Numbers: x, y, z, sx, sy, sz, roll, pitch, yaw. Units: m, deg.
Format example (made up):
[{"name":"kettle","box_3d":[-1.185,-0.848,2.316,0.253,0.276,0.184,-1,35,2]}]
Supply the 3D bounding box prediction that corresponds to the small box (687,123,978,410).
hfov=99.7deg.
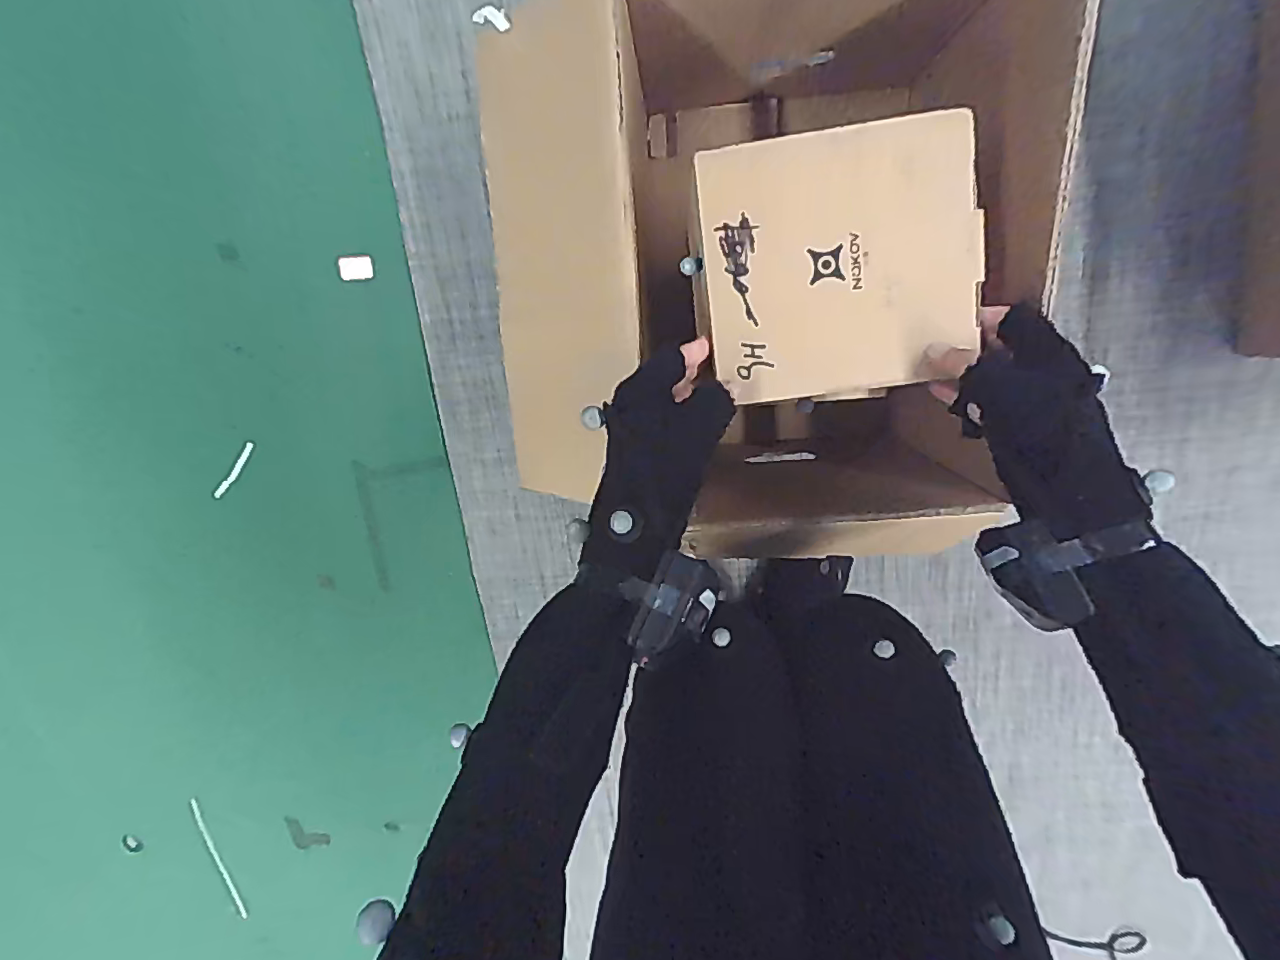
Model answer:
[{"name":"small box","box_3d":[0.134,-0.147,0.433,0.179,0.176,0.168,-6,95,4]}]
